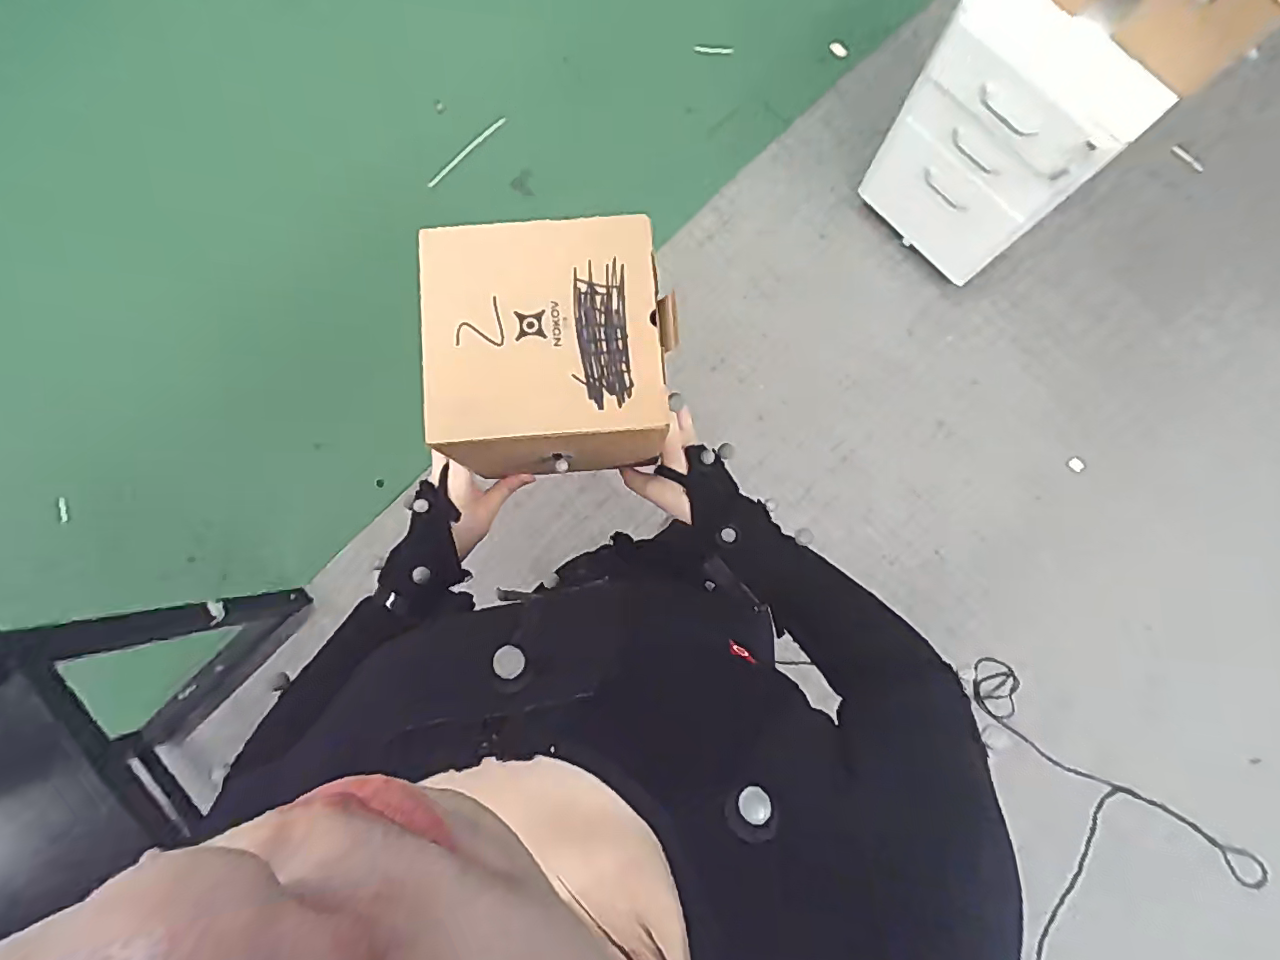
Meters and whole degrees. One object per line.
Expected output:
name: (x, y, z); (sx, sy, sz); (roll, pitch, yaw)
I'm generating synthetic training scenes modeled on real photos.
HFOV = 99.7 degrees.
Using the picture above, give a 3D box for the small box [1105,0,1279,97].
small box: (0.940, -0.791, 0.889); (0.168, 0.176, 0.179); (-40, 84, -2)

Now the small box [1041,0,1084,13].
small box: (0.766, -0.961, 0.913); (0.168, 0.176, 0.179); (-42, 85, -2)
